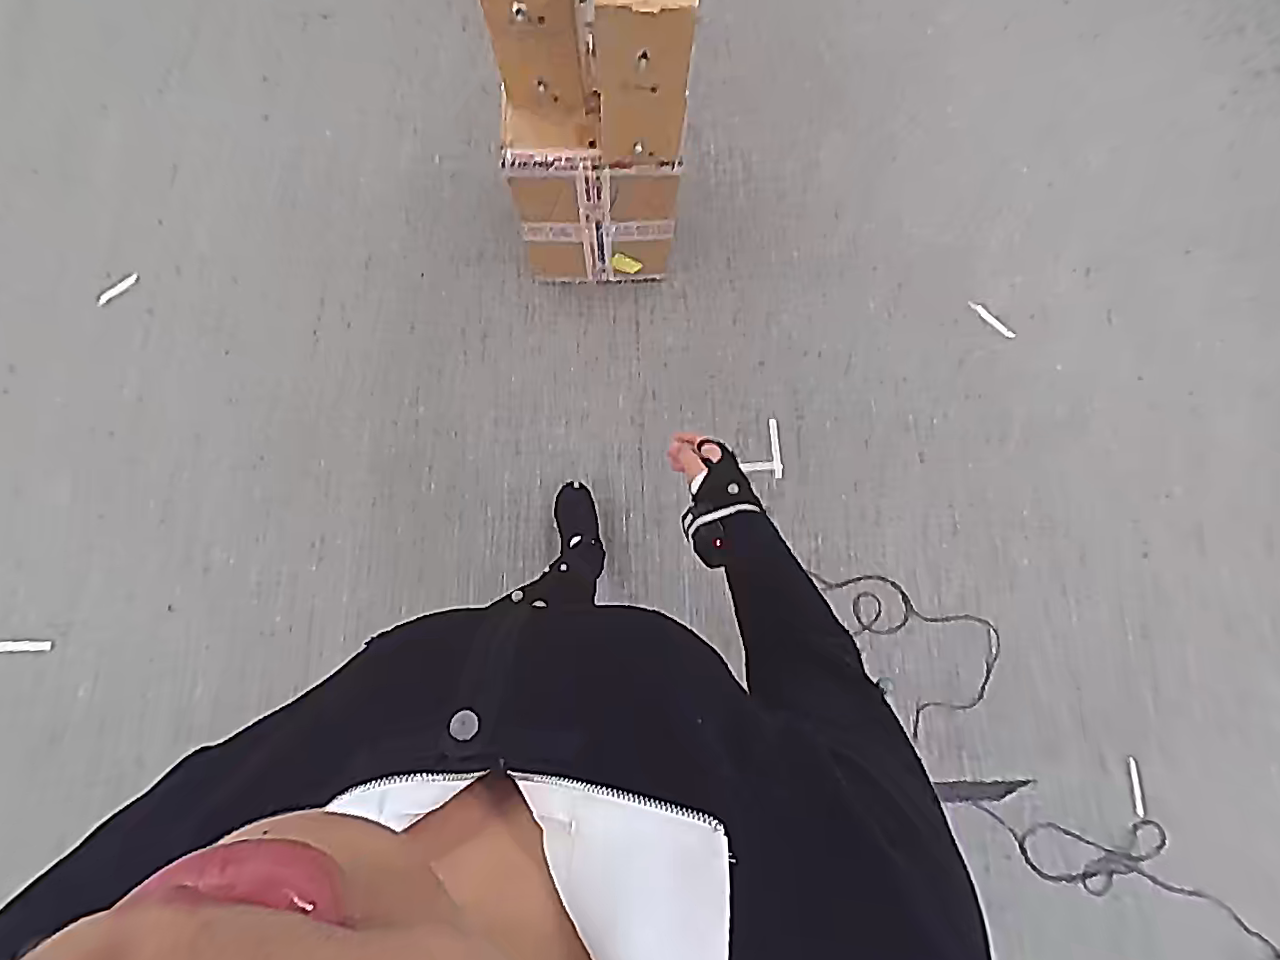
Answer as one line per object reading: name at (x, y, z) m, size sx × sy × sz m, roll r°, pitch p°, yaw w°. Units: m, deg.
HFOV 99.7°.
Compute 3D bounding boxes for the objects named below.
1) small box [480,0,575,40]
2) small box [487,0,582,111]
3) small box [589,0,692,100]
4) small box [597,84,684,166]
small box at (-0.206, -0.930, 0.952) m, size 0.168 × 0.176 × 0.179 m, roll -1°, pitch 82°, yaw 0°
small box at (-0.210, -0.906, 1.113) m, size 0.168 × 0.176 × 0.179 m, roll -1°, pitch 81°, yaw 0°
small box at (0.003, -0.803, 0.938) m, size 0.168 × 0.176 × 0.179 m, roll 3°, pitch 82°, yaw -2°
small box at (-0.004, -0.779, 1.100) m, size 0.168 × 0.176 × 0.179 m, roll -1°, pitch 82°, yaw -2°
